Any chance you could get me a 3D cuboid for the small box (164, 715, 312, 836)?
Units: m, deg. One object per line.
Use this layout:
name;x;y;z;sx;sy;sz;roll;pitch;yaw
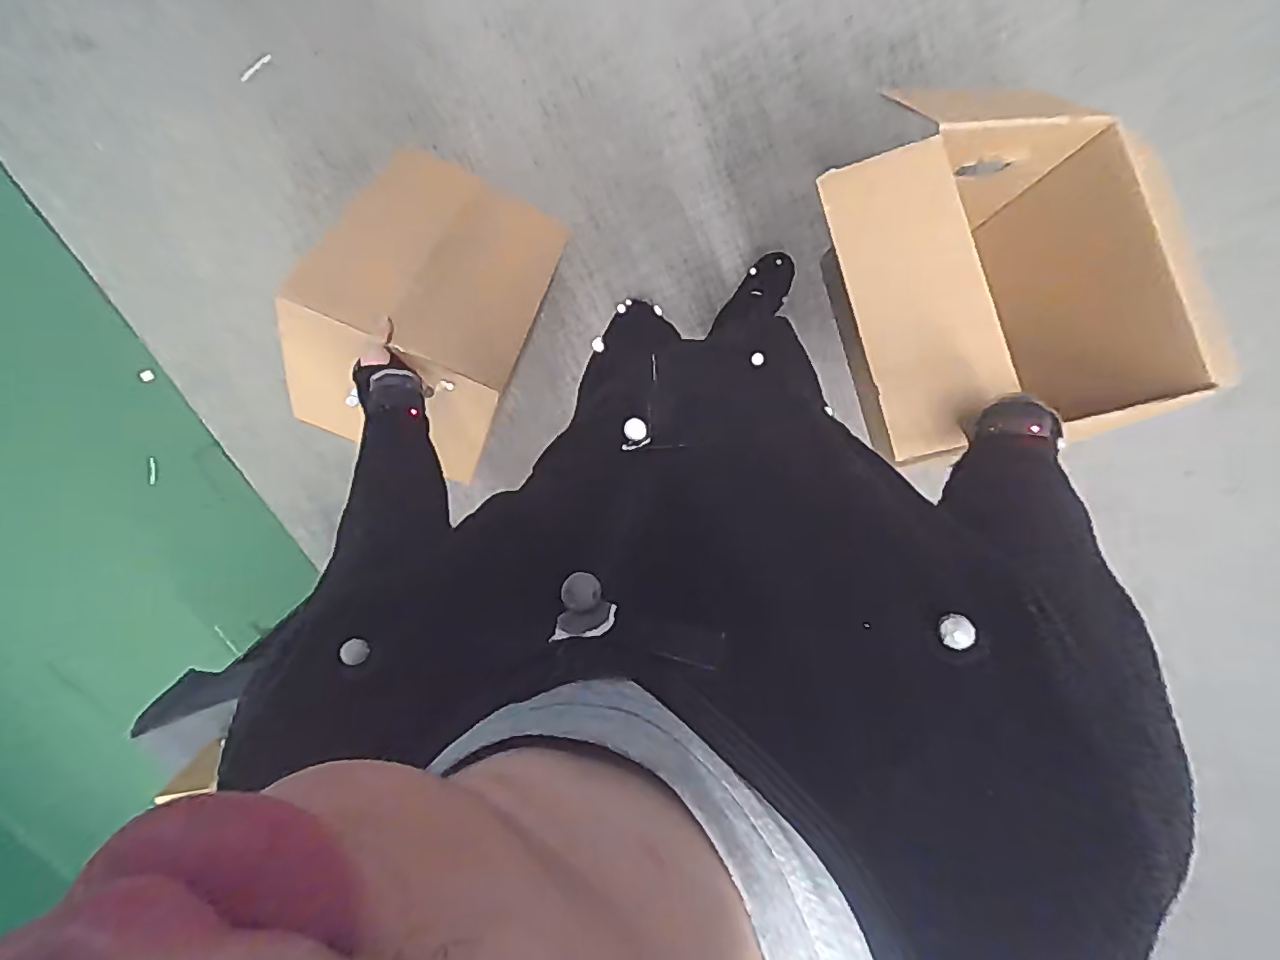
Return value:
small box;-0.896;0.667;1.225;0.168;0.176;0.179;-16;111;17
